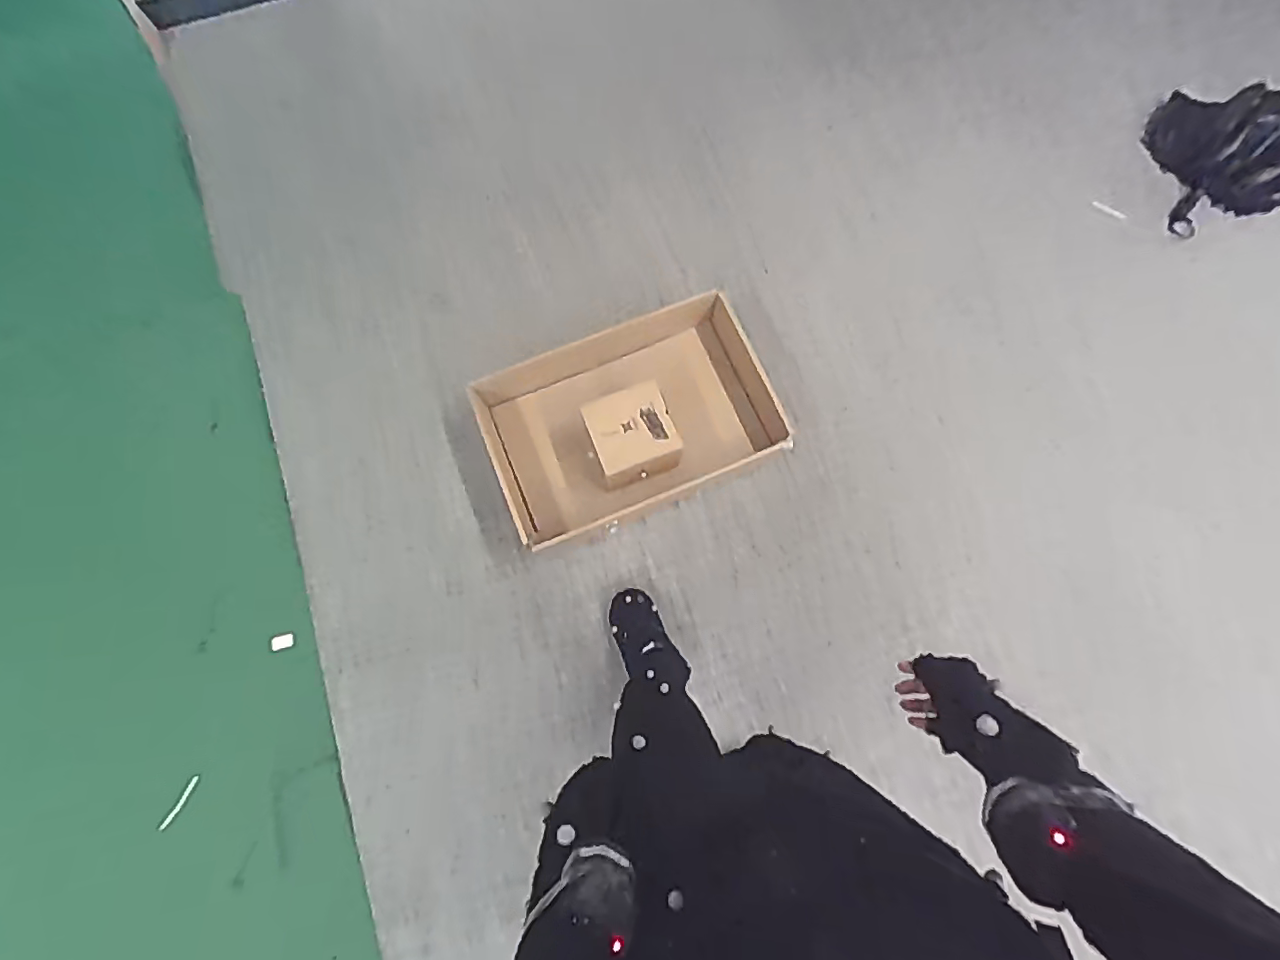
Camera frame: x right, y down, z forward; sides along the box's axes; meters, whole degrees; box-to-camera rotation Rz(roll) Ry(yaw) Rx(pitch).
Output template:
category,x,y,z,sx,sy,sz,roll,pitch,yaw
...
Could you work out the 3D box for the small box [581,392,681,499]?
category,x,y,z,sx,sy,sz,roll,pitch,yaw
small box,-0.022,-0.072,1.227,0.179,0.176,0.168,-20,77,-4
